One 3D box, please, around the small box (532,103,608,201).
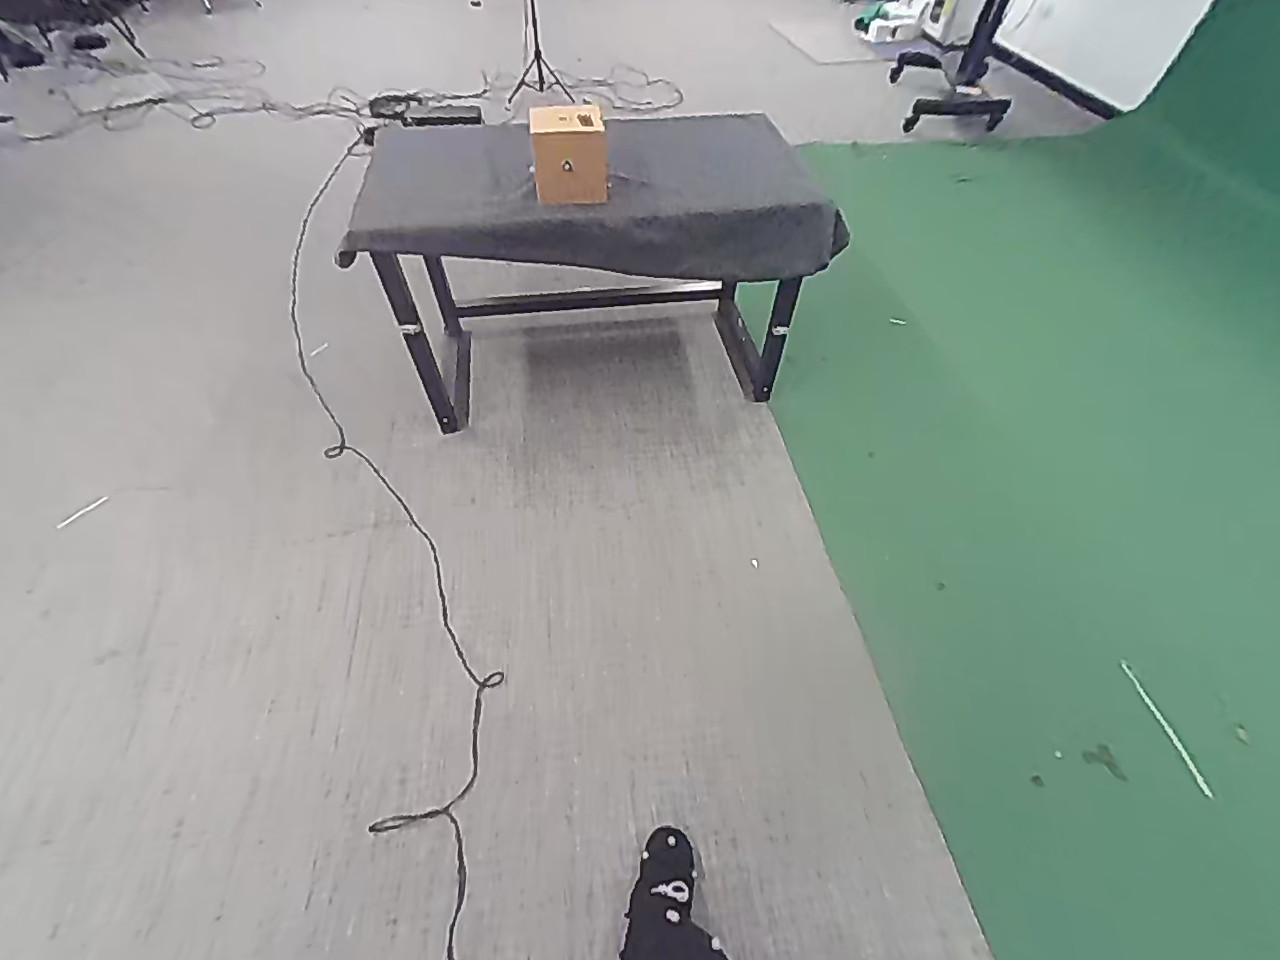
[{"bbox_3d":[-0.169,-0.820,1.359,0.179,0.176,0.168,-2,51,-3],"label":"small box"}]
